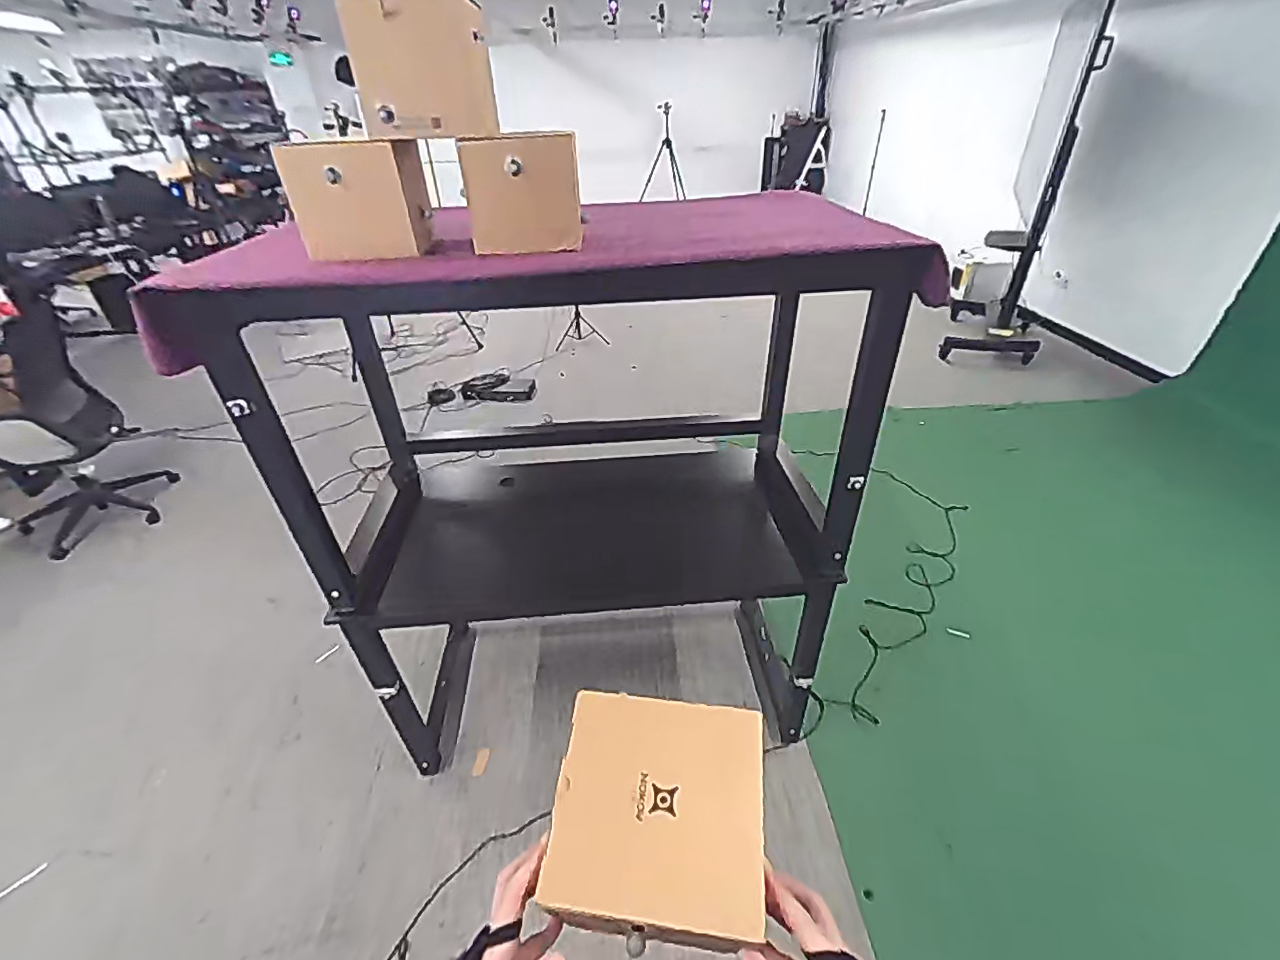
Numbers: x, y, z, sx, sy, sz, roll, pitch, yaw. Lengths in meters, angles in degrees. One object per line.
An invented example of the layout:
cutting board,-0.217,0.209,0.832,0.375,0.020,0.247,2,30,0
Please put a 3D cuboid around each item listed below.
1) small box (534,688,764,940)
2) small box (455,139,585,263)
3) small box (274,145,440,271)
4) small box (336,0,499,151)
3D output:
small box,0.022,0.317,0.514,0.179,0.176,0.168,1,48,10
small box,-0.191,-0.471,0.913,0.179,0.176,0.168,-4,35,-2
small box,-0.458,-0.458,0.909,0.179,0.176,0.168,-5,36,-4
small box,-0.322,-0.606,0.826,0.168,0.176,0.179,-2,34,-1
